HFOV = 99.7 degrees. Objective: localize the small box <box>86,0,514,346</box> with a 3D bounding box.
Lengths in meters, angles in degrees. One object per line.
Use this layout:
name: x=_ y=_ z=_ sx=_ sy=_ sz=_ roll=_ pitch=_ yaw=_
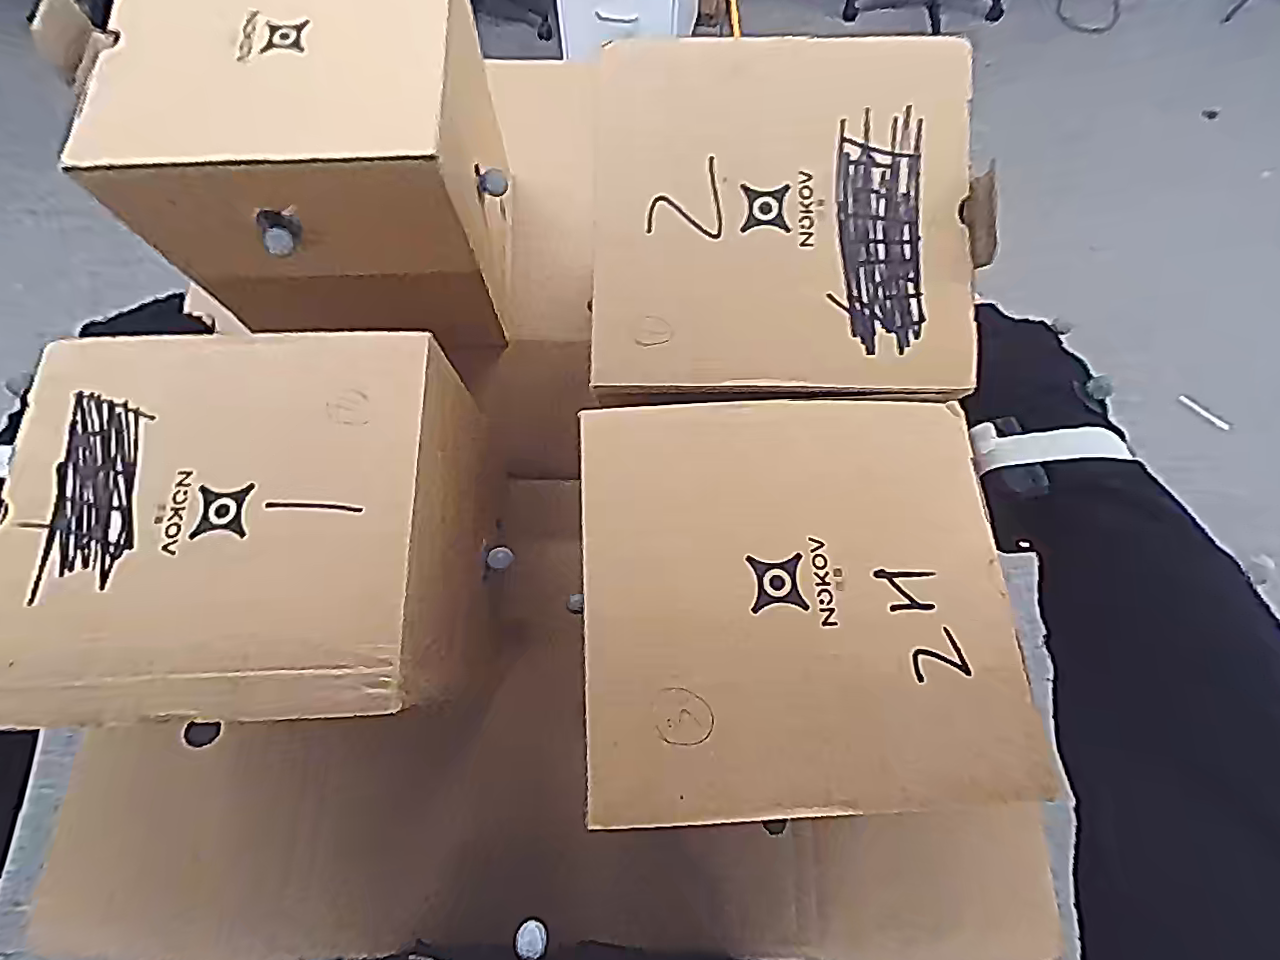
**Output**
small box: x=-0.187 y=-0.205 z=0.363 sx=0.179 sy=0.176 sz=0.168 roll=-3 pitch=73 yaw=-1
